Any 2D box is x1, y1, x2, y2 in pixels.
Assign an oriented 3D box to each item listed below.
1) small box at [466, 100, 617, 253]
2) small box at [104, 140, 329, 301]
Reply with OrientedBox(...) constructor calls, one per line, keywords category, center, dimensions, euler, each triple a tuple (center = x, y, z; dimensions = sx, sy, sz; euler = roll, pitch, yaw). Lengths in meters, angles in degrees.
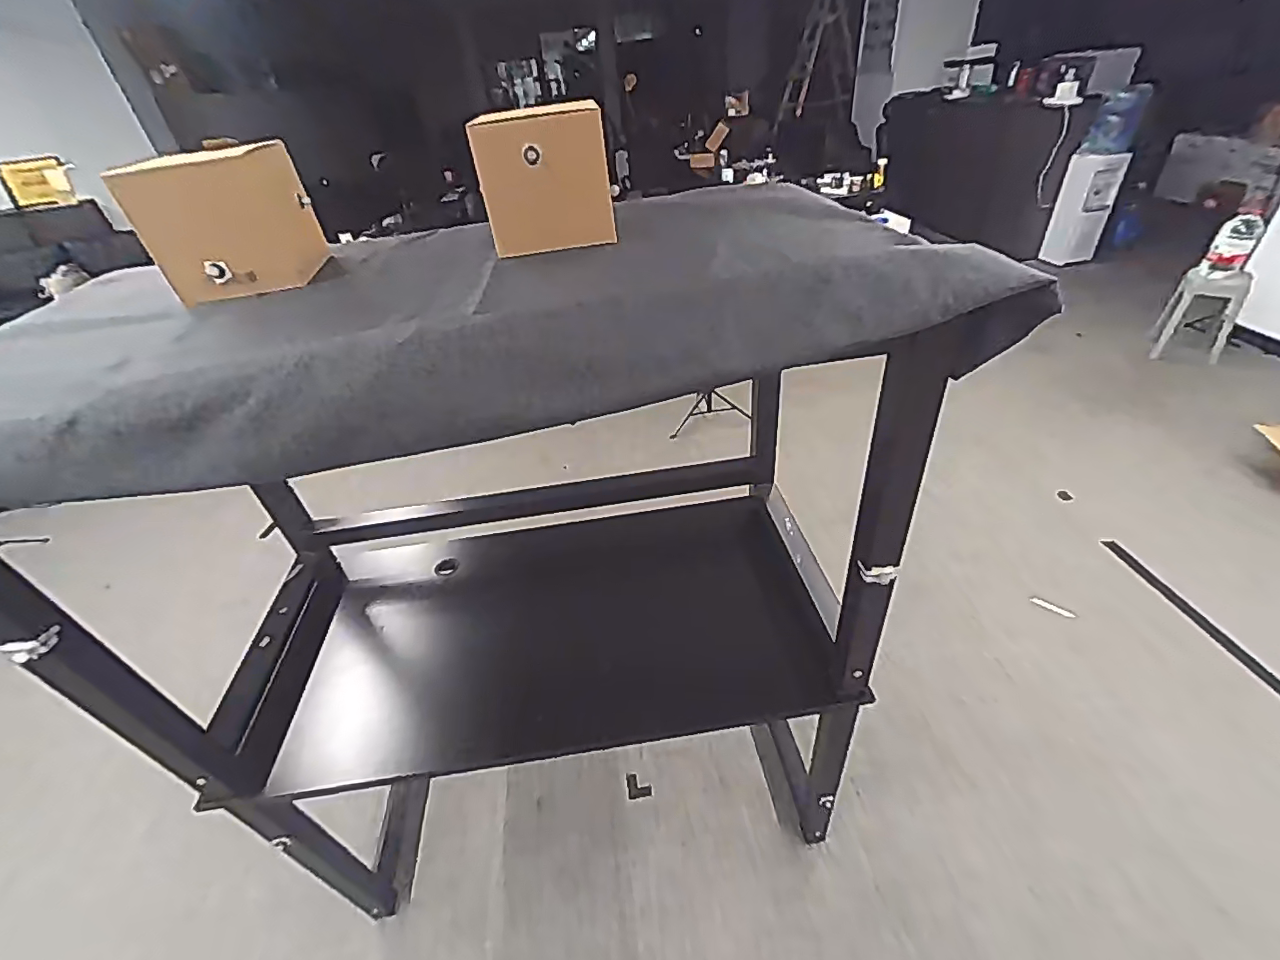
OrientedBox(category="small box", center=(-0.134, -0.444, 0.795), dimensions=(0.179, 0.176, 0.168), euler=(-8, 38, -1))
OrientedBox(category="small box", center=(-0.577, -0.372, 0.772), dimensions=(0.168, 0.176, 0.179), euler=(-13, 38, -6))
